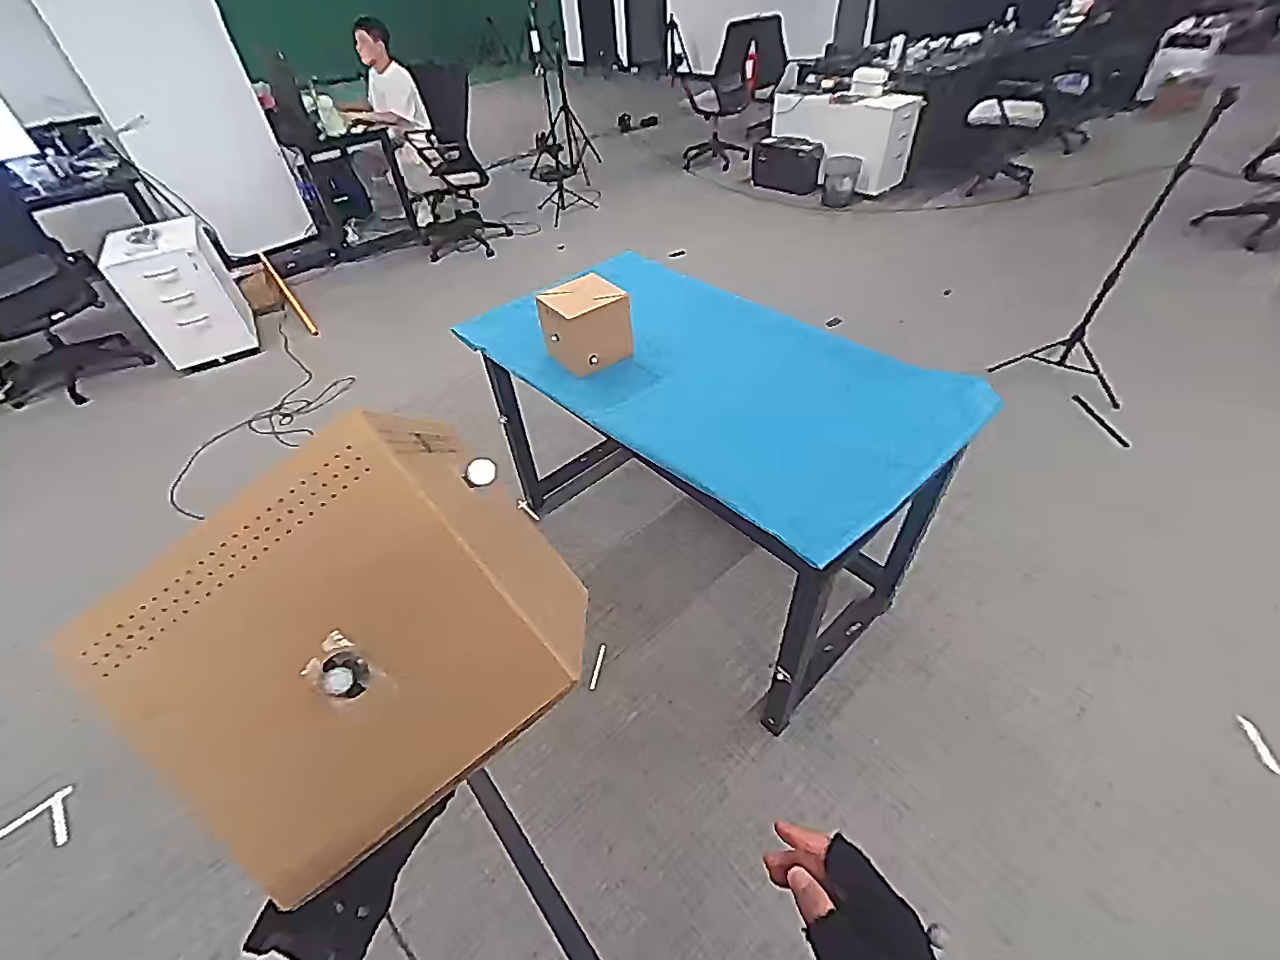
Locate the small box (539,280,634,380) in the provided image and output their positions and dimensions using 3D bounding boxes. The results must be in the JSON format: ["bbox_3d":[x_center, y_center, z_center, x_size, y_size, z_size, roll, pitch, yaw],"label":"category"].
[{"bbox_3d":[-0.136,-0.387,1.375,0.179,0.176,0.168,-30,51,-23],"label":"small box"}]

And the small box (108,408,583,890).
[{"bbox_3d":[-0.156,0.079,0.335,0.179,0.168,0.176,-39,95,-2],"label":"small box"}]
